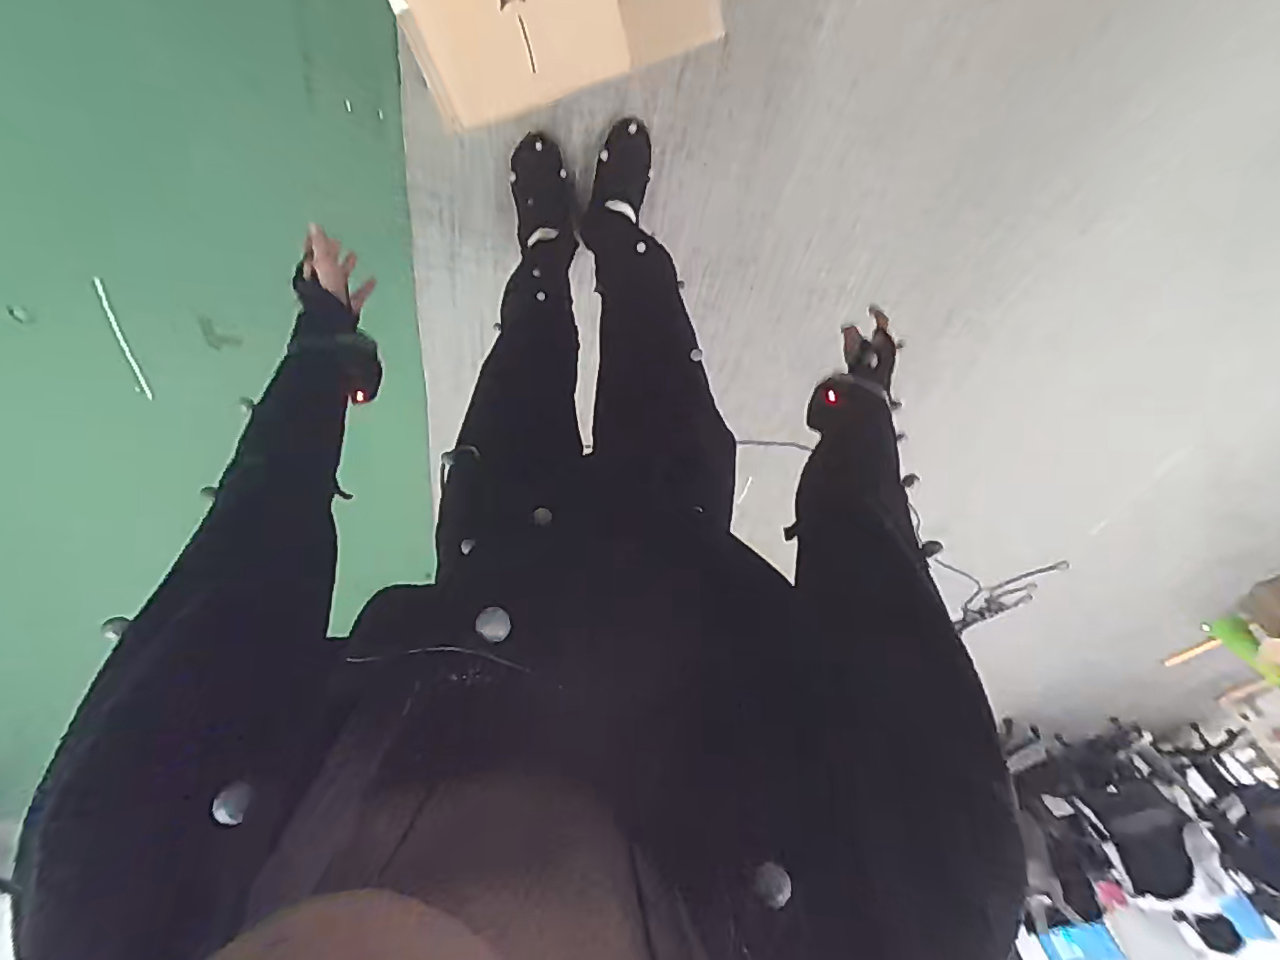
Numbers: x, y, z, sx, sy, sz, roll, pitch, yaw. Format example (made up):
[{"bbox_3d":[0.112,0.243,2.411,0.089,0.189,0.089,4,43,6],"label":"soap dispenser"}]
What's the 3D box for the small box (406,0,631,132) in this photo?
[{"bbox_3d":[-0.115,-0.453,0.488,0.168,0.176,0.179,-15,135,8],"label":"small box"}]
